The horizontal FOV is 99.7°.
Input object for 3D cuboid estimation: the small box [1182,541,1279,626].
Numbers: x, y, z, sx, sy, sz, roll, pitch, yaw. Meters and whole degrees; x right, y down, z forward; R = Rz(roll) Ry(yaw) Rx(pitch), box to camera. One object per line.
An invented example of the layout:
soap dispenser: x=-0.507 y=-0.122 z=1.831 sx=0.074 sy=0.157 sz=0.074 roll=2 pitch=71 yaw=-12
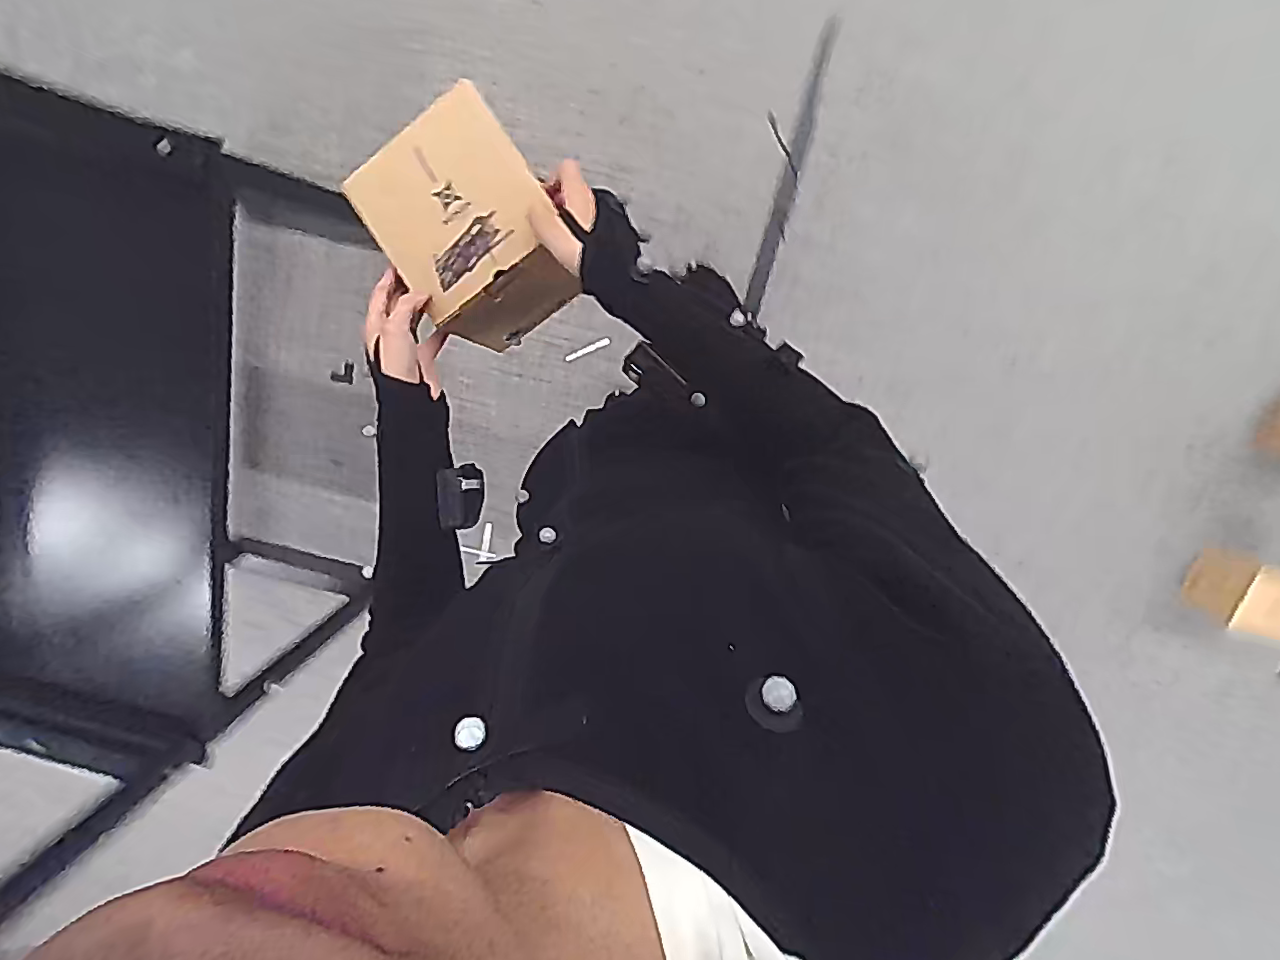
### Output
small box: x=1.661 y=0.278 z=1.476 sx=0.179 sy=0.176 sz=0.168 roll=11 pitch=106 yaw=2

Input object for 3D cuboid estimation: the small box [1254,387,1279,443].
small box: x=1.735 y=-0.154 z=1.348 sx=0.179 sy=0.176 sz=0.168 roll=16 pitch=105 yaw=1

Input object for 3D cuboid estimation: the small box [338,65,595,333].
small box: x=-0.171 y=-0.279 z=0.592 sx=0.168 sy=0.176 sz=0.179 roll=-33 pitch=89 yaw=9
